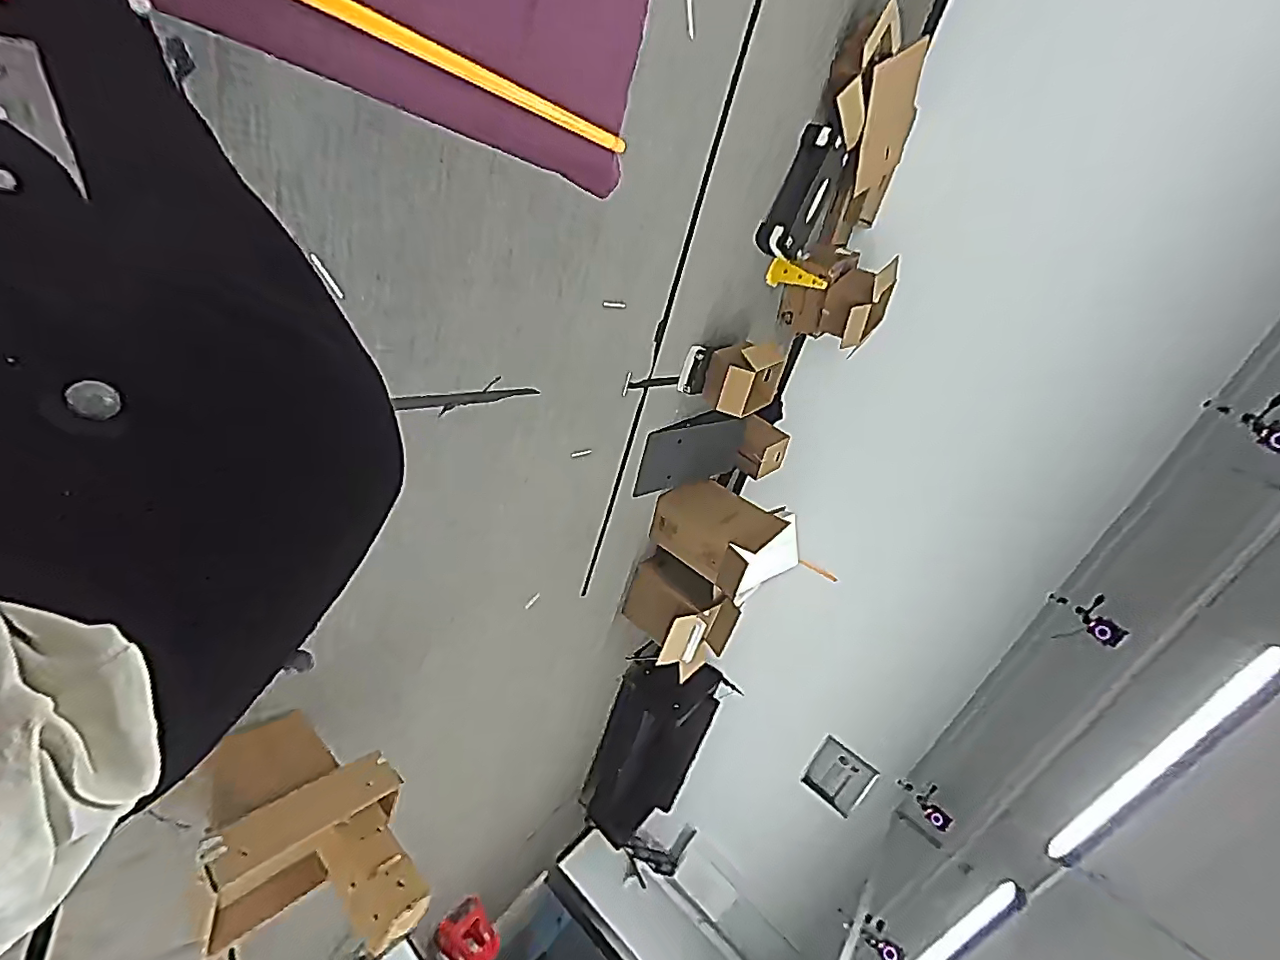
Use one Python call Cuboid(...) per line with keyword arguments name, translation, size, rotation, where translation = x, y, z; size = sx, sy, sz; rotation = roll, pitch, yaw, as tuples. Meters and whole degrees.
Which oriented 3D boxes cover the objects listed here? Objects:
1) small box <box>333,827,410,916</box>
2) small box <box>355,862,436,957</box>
Cuboid(name="small box", translation=(-0.984, 1.412, 1.972), size=(0.168, 0.176, 0.179), rotation=(5, 116, -60))
Cuboid(name="small box", translation=(-0.860, 1.488, 1.894), size=(0.179, 0.176, 0.168), rotation=(-61, 152, 9))
